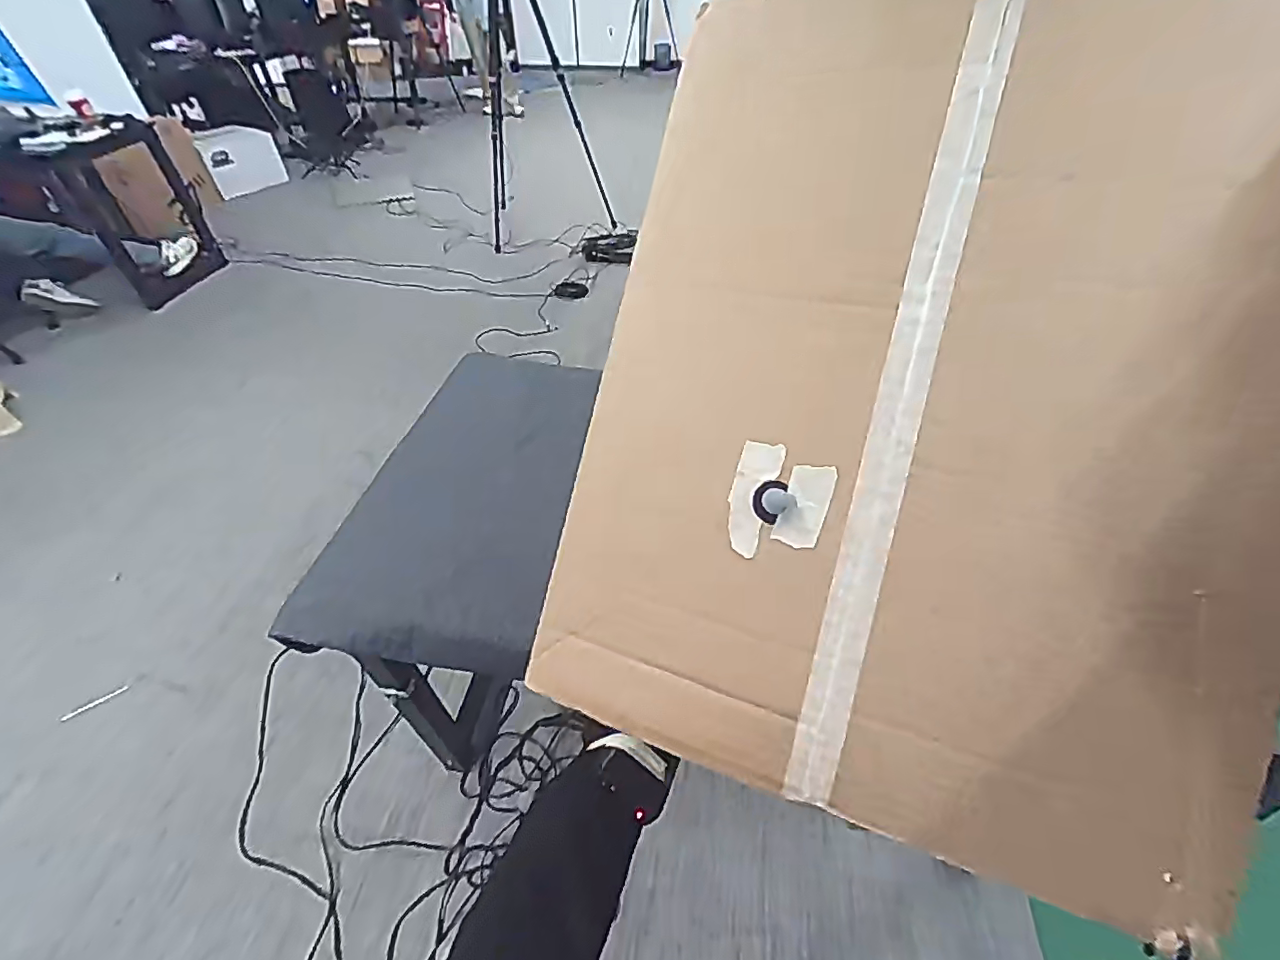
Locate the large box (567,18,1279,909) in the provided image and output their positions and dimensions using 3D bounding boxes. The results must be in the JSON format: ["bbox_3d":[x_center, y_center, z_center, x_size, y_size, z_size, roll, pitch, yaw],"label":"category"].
[{"bbox_3d":[0.181,-0.030,0.418,0.320,0.320,0.408,13,91,19],"label":"large box"}]
